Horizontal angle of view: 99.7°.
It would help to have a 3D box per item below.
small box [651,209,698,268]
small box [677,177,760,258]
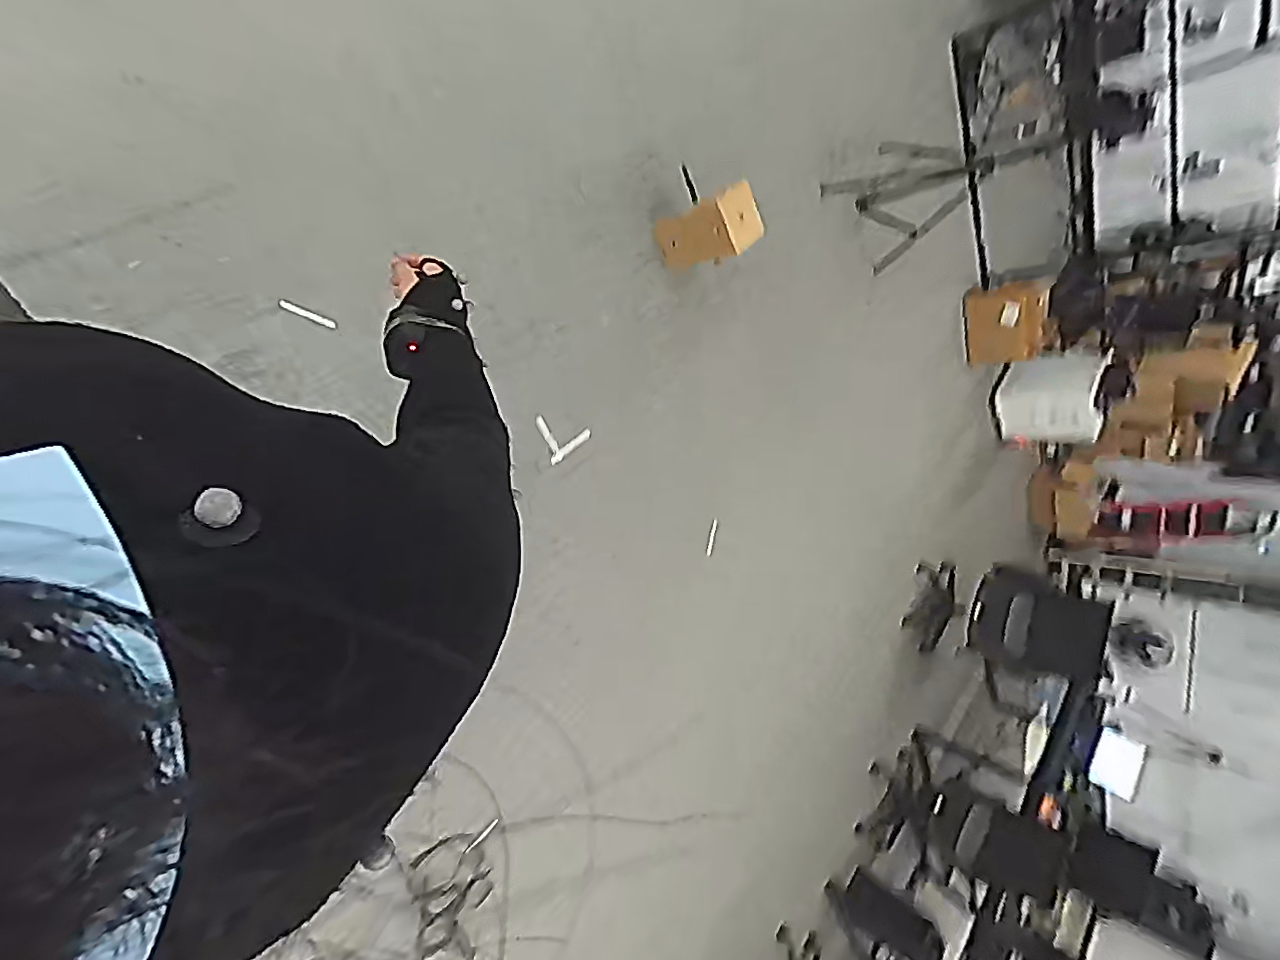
[{"bbox_3d":[0.161,-0.863,1.899,0.179,0.176,0.168,-37,118,-30],"label":"small box"},{"bbox_3d":[0.255,-0.847,1.767,0.168,0.176,0.179,-46,121,-25],"label":"small box"}]
